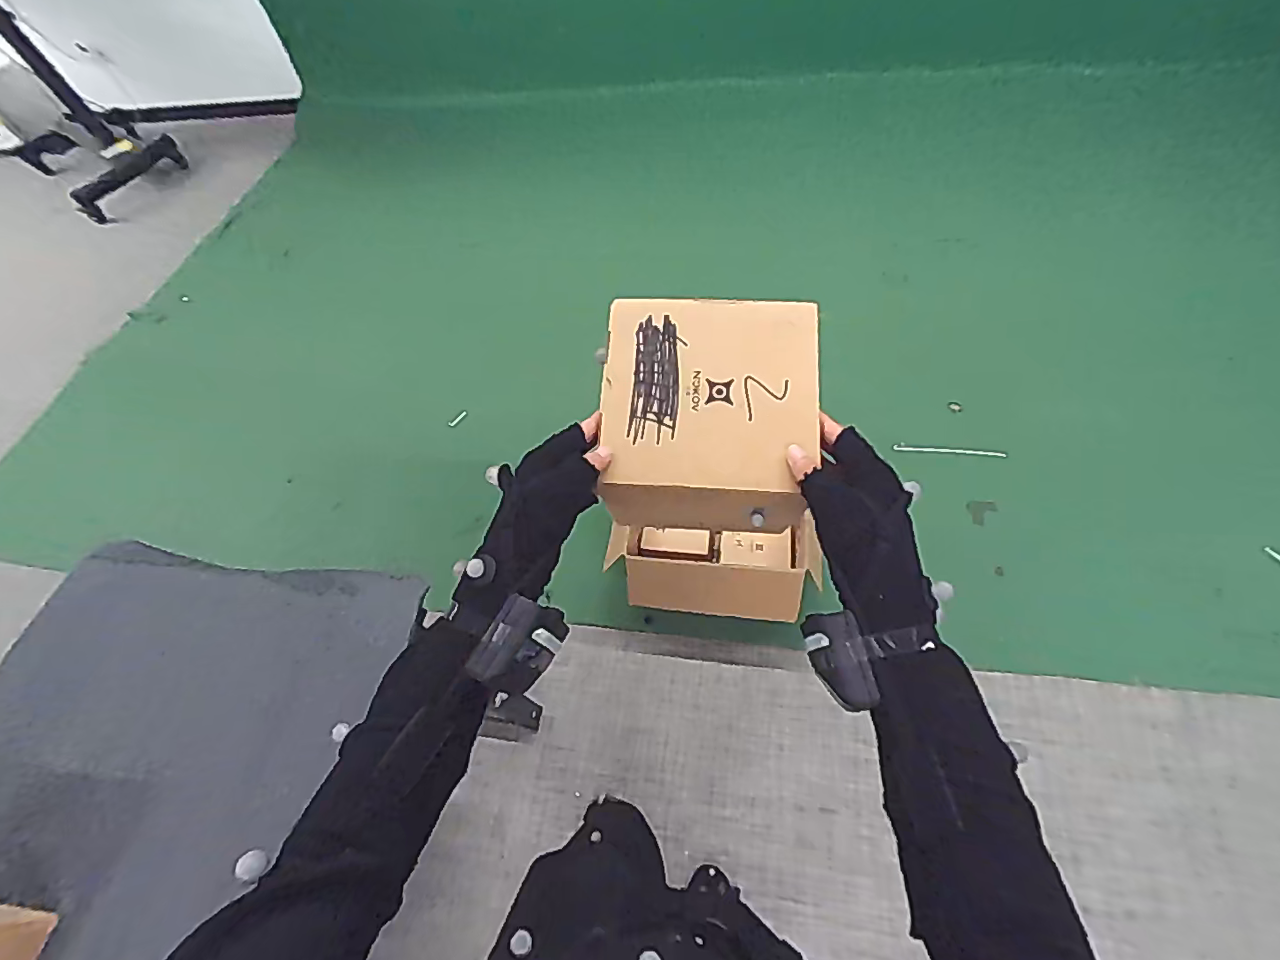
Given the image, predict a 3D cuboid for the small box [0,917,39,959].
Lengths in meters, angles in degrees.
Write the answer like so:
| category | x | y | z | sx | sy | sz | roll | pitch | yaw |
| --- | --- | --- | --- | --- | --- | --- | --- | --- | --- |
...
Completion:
| category | x | y | z | sx | sy | sz | roll | pitch | yaw |
| --- | --- | --- | --- | --- | --- | --- | --- | --- | --- |
| small box | -0.746 | 0.519 | 0.502 | 0.168 | 0.176 | 0.179 | 2 | 58 | 8 |
